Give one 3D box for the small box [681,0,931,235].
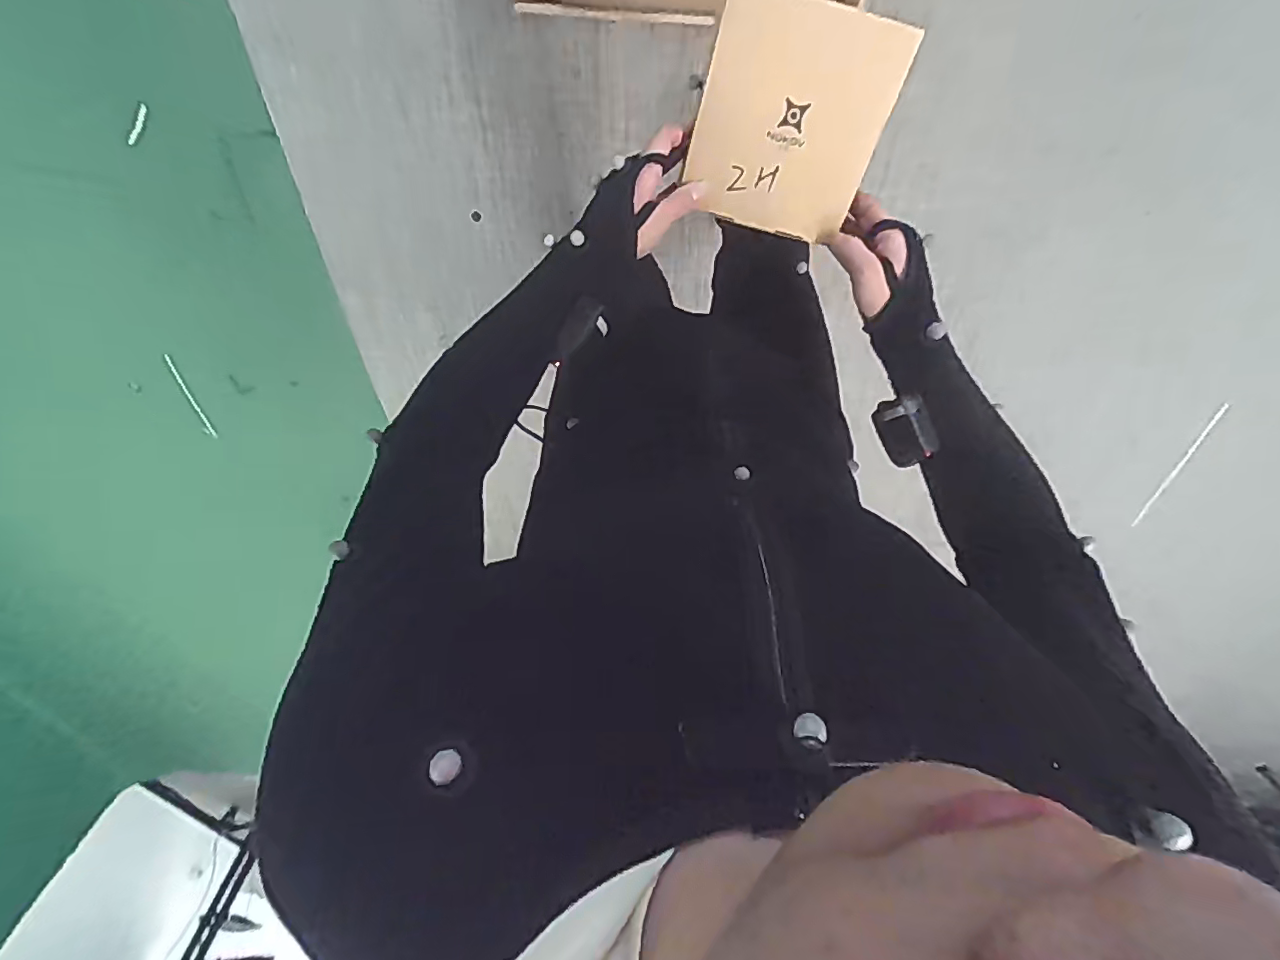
[{"bbox_3d":[0.139,-0.375,0.537,0.168,0.176,0.179,13,128,-6],"label":"small box"}]
